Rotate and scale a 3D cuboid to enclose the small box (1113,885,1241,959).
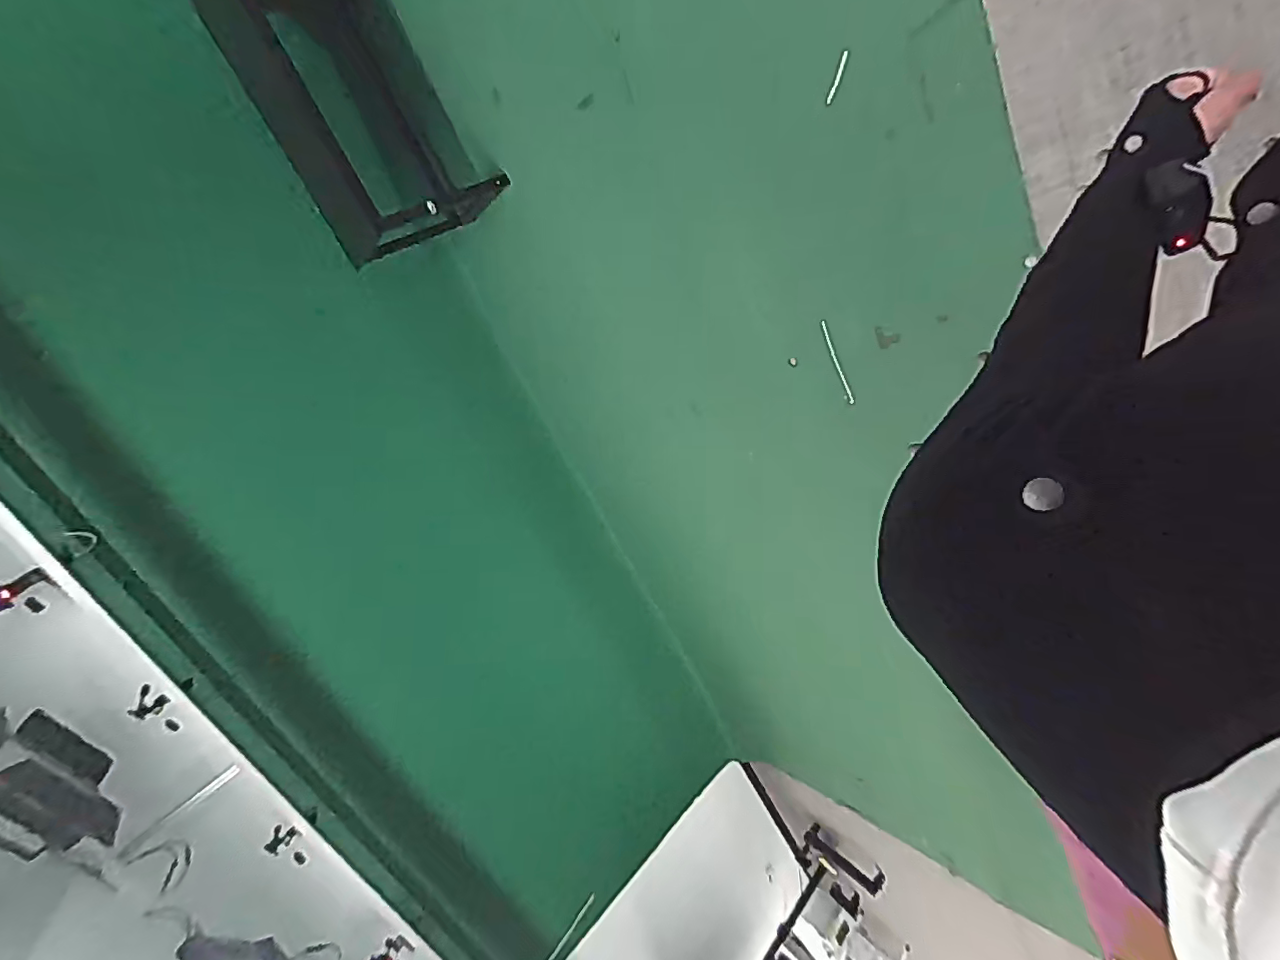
[{"bbox_3d":[1.151,1.030,1.152,0.168,0.176,0.179,-1,125,55],"label":"small box"}]
